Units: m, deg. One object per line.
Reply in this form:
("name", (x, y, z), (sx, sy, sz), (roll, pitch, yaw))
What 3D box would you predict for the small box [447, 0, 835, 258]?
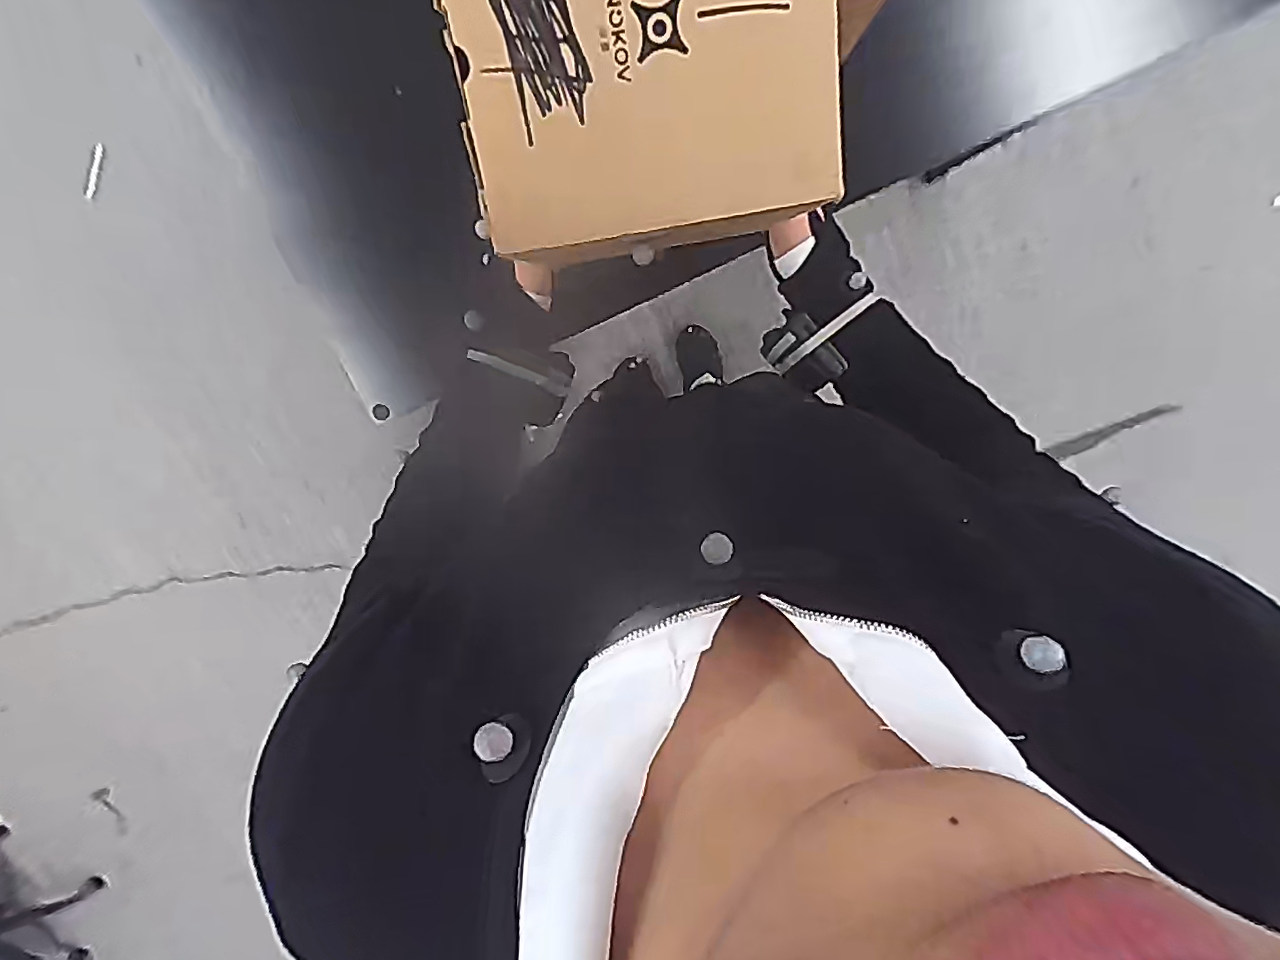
("small box", (0.003, -0.233, 0.324), (0.179, 0.176, 0.168), (-7, 110, 3))
